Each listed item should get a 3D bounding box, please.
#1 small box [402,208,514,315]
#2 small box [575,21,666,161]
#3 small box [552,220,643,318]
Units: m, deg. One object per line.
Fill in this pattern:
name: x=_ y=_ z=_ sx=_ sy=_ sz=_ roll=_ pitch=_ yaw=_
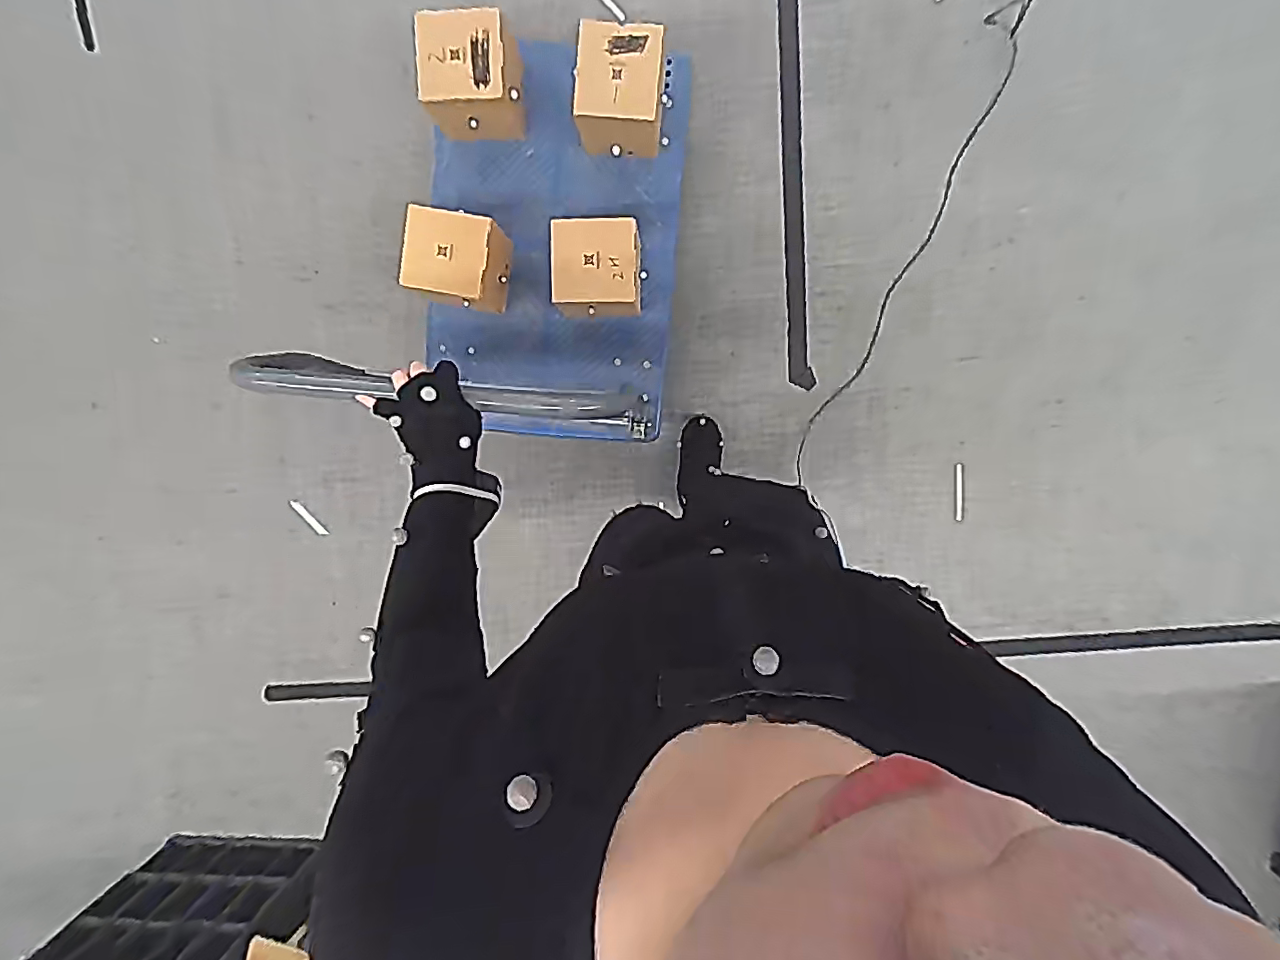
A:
small box: x=-0.394 y=-0.473 z=1.191 sx=0.179 sy=0.176 sz=0.168 roll=9 pitch=96 yaw=0
small box: x=-0.036 y=-0.806 z=1.135 sx=0.168 sy=0.176 sz=0.179 roll=6 pitch=98 yaw=3
small box: x=-0.087 y=-0.451 z=1.177 sx=0.179 sy=0.176 sz=0.168 roll=1 pitch=97 yaw=4
